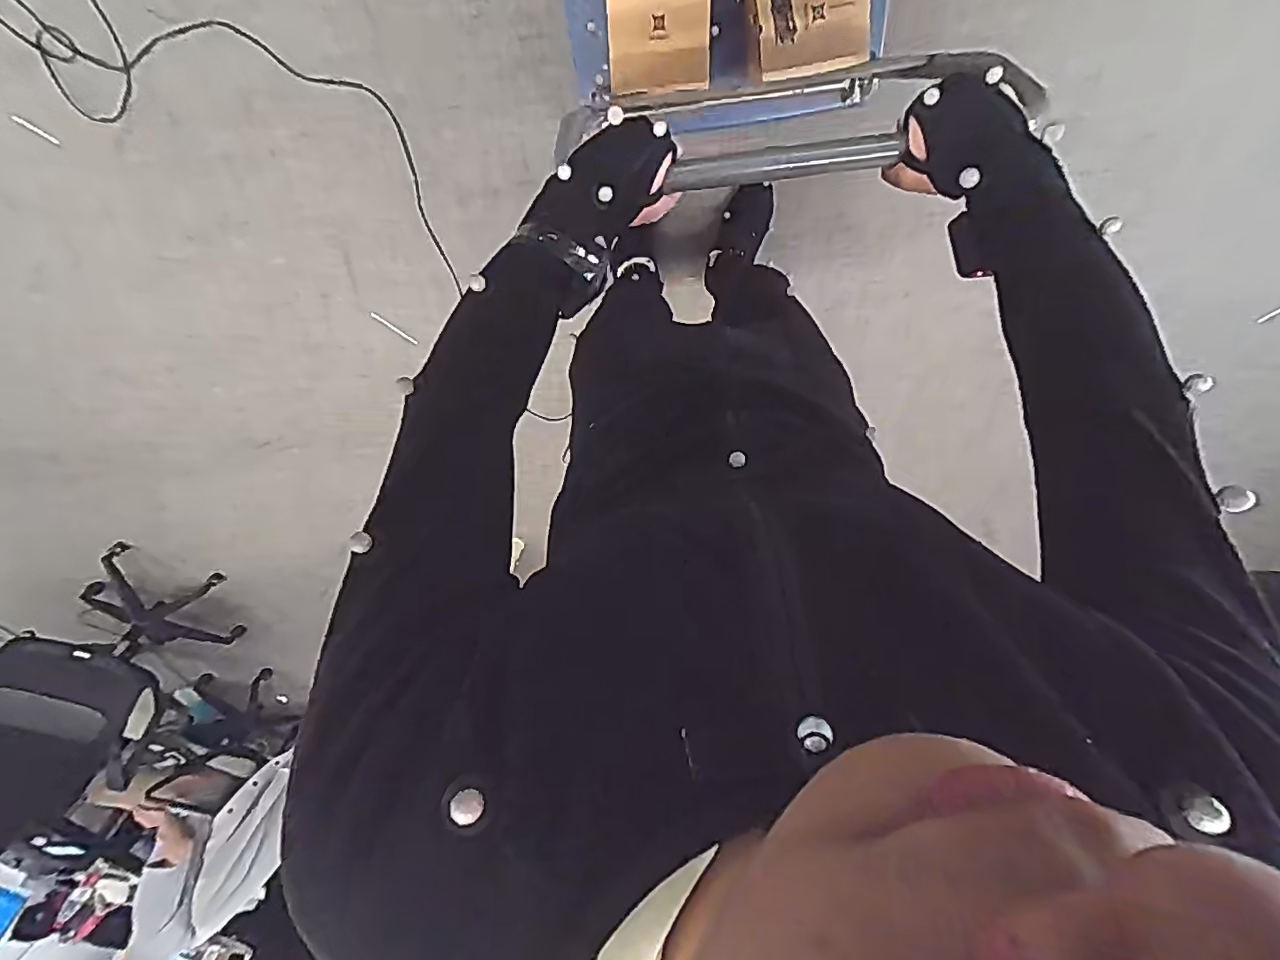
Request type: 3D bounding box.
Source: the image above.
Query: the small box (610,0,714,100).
[{"bbox_3d":[0.035,-0.767,0.931,0.168,0.176,0.179,-1,128,3],"label":"small box"}]
